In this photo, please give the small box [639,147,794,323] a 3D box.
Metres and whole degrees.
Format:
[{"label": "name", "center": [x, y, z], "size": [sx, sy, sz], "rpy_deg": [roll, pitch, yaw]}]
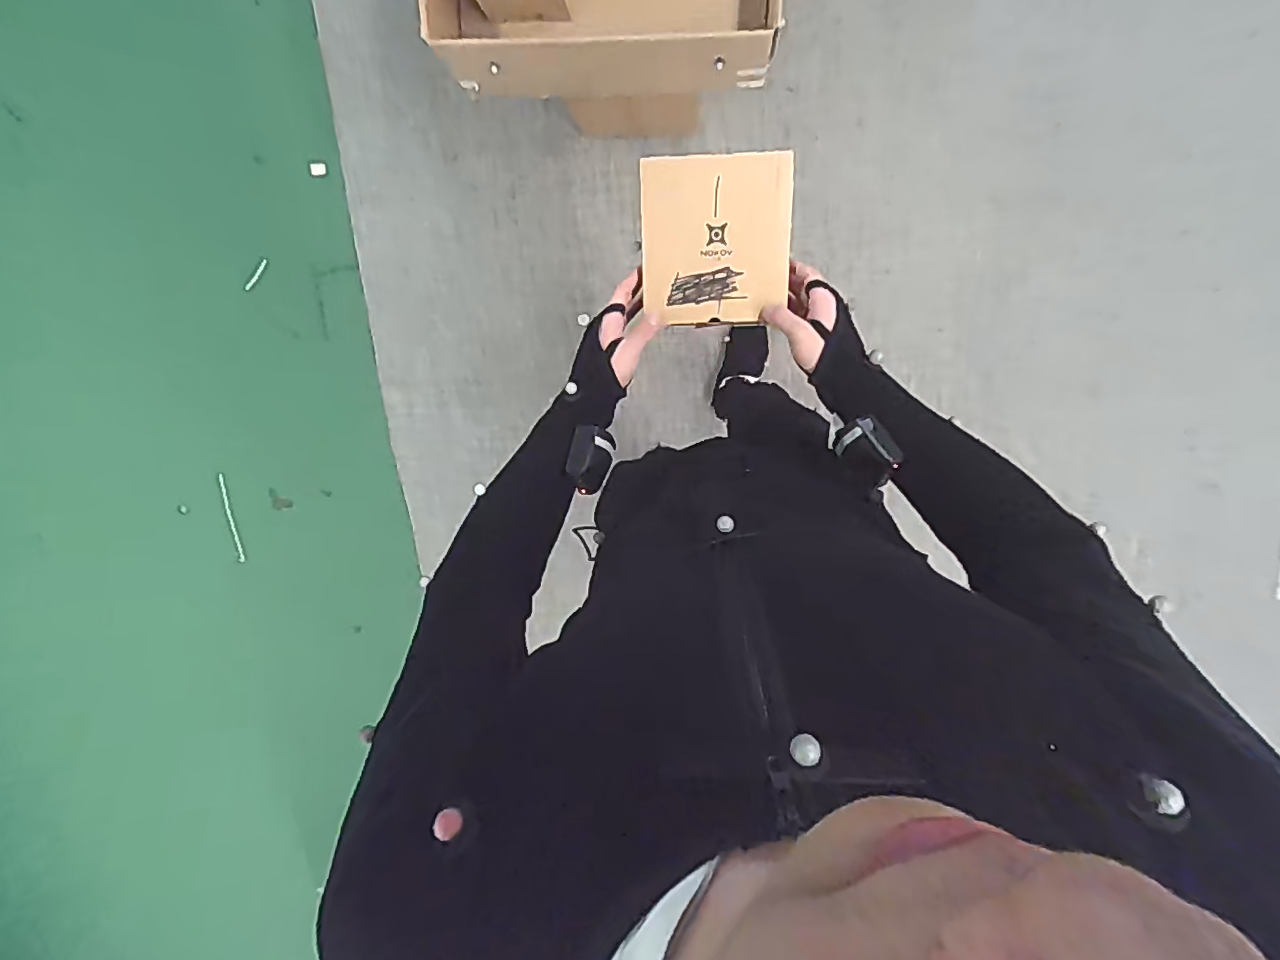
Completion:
[{"label": "small box", "center": [0.085, -0.288, 0.669], "size": [0.168, 0.176, 0.179], "rpy_deg": [0, 106, 2]}]
